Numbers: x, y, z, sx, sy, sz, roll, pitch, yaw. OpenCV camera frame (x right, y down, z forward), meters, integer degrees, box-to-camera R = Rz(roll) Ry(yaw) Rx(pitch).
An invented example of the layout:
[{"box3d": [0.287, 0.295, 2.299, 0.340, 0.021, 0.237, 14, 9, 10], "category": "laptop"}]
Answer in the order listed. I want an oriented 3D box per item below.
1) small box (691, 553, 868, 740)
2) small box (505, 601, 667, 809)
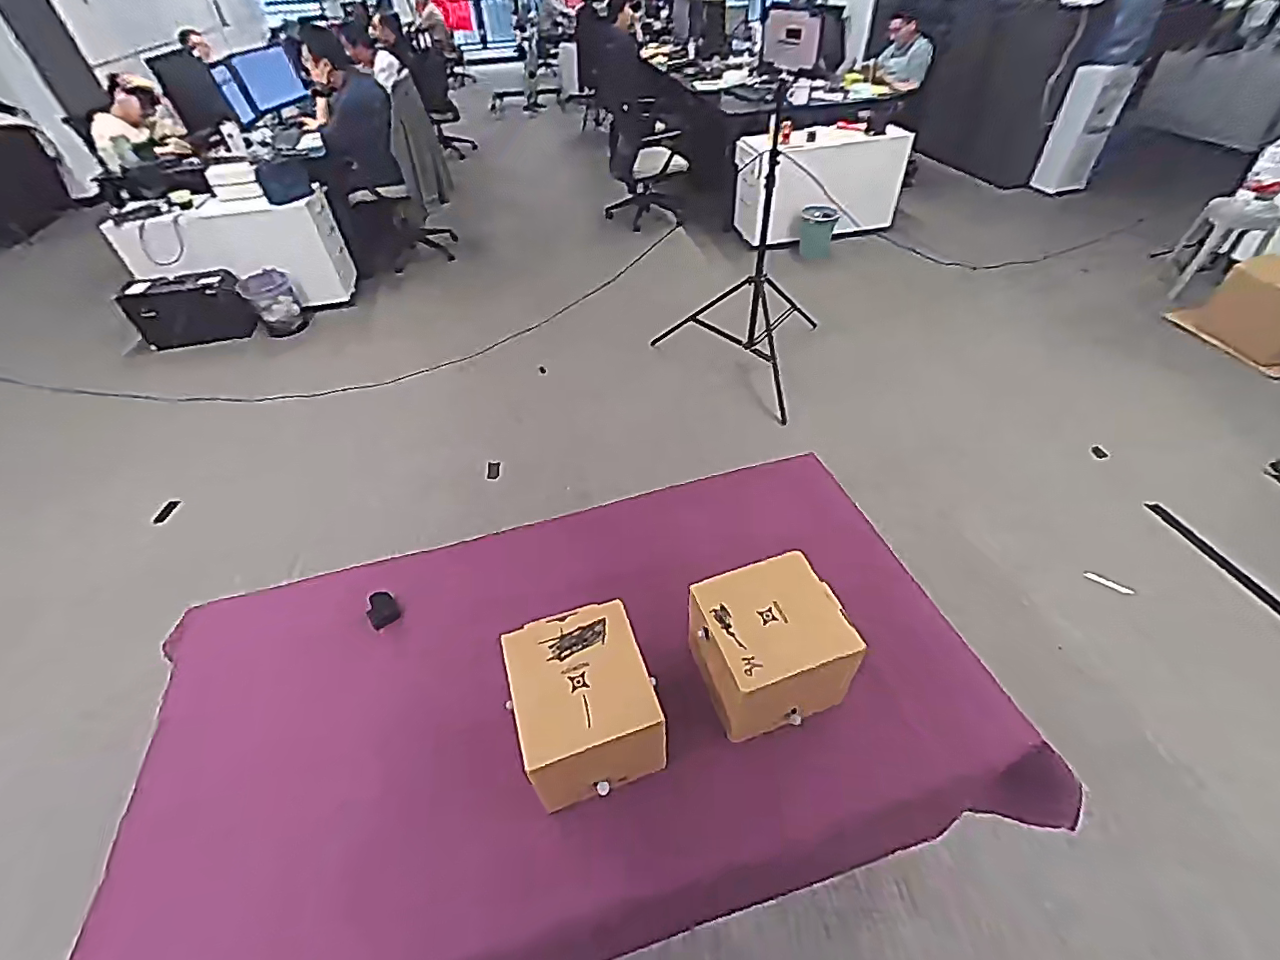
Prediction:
[{"box3d": [0.181, 0.235, 0.765, 0.179, 0.176, 0.168, -15, 45, -11], "category": "small box"}, {"box3d": [-0.071, 0.297, 0.718, 0.168, 0.176, 0.179, -16, 46, -12], "category": "small box"}]
